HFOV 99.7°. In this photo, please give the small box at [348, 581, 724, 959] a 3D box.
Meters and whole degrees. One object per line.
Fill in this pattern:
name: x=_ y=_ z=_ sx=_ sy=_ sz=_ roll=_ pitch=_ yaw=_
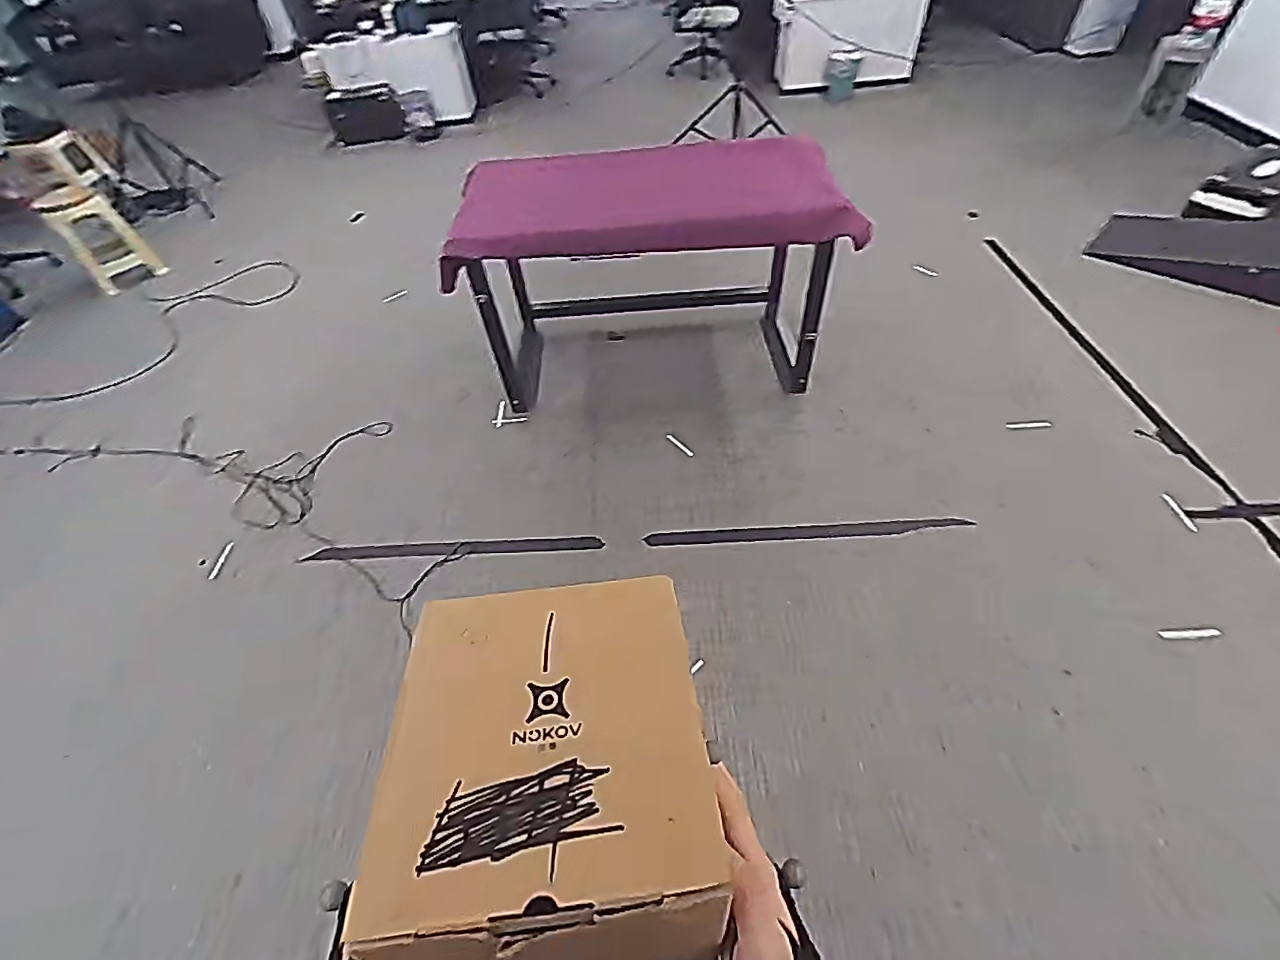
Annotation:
small box: x=-0.046 y=0.193 z=0.342 sx=0.168 sy=0.176 sz=0.179 roll=-6 pitch=39 yaw=-4
